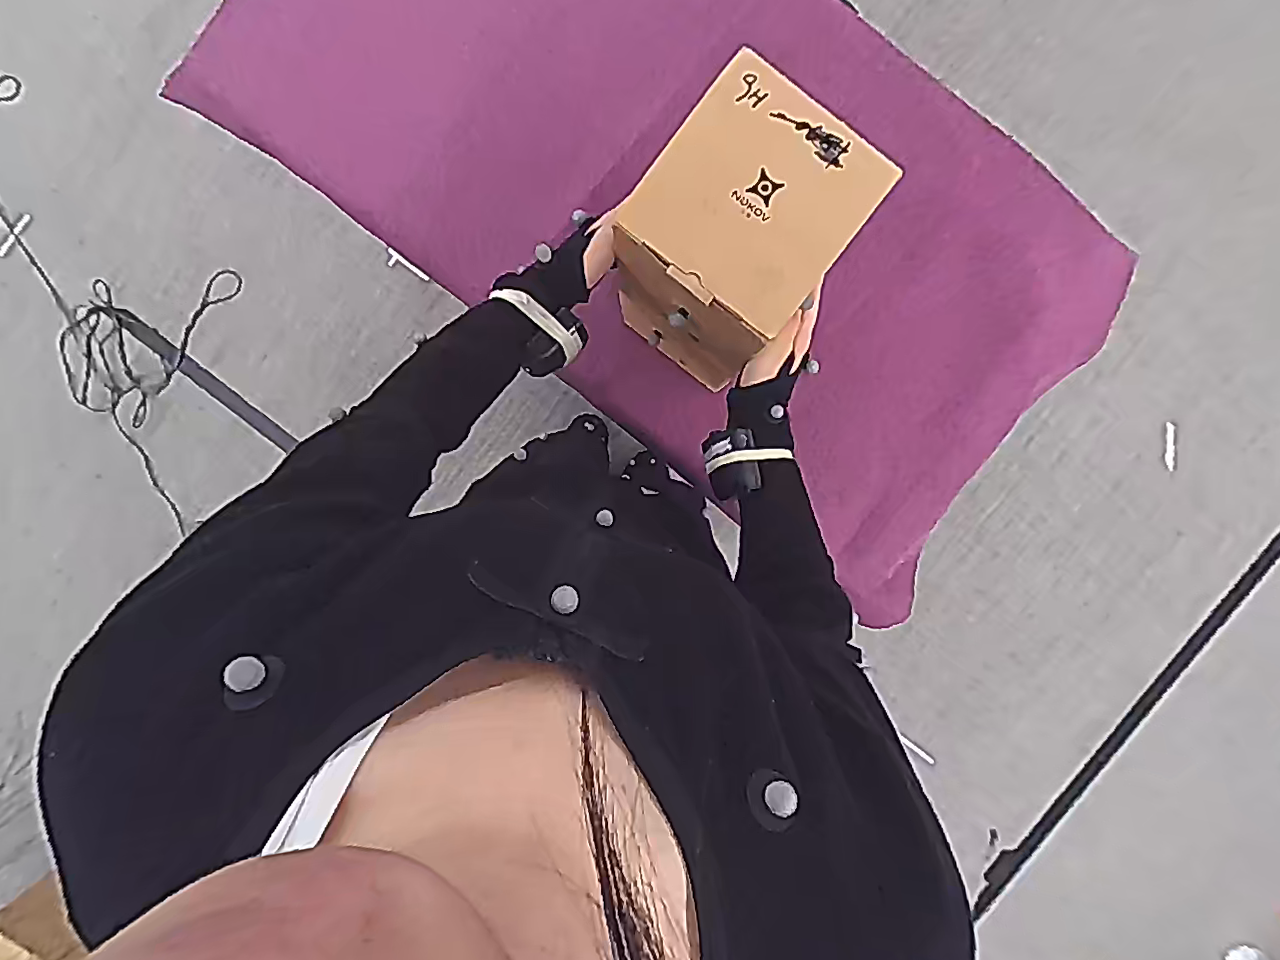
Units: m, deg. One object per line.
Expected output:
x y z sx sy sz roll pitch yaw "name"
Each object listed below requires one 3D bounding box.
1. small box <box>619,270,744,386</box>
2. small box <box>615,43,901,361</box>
0.094 -0.237 0.679 0.168 0.176 0.179 38 92 -1 "small box"
0.096 -0.235 0.513 0.168 0.176 0.179 38 93 -2 "small box"
